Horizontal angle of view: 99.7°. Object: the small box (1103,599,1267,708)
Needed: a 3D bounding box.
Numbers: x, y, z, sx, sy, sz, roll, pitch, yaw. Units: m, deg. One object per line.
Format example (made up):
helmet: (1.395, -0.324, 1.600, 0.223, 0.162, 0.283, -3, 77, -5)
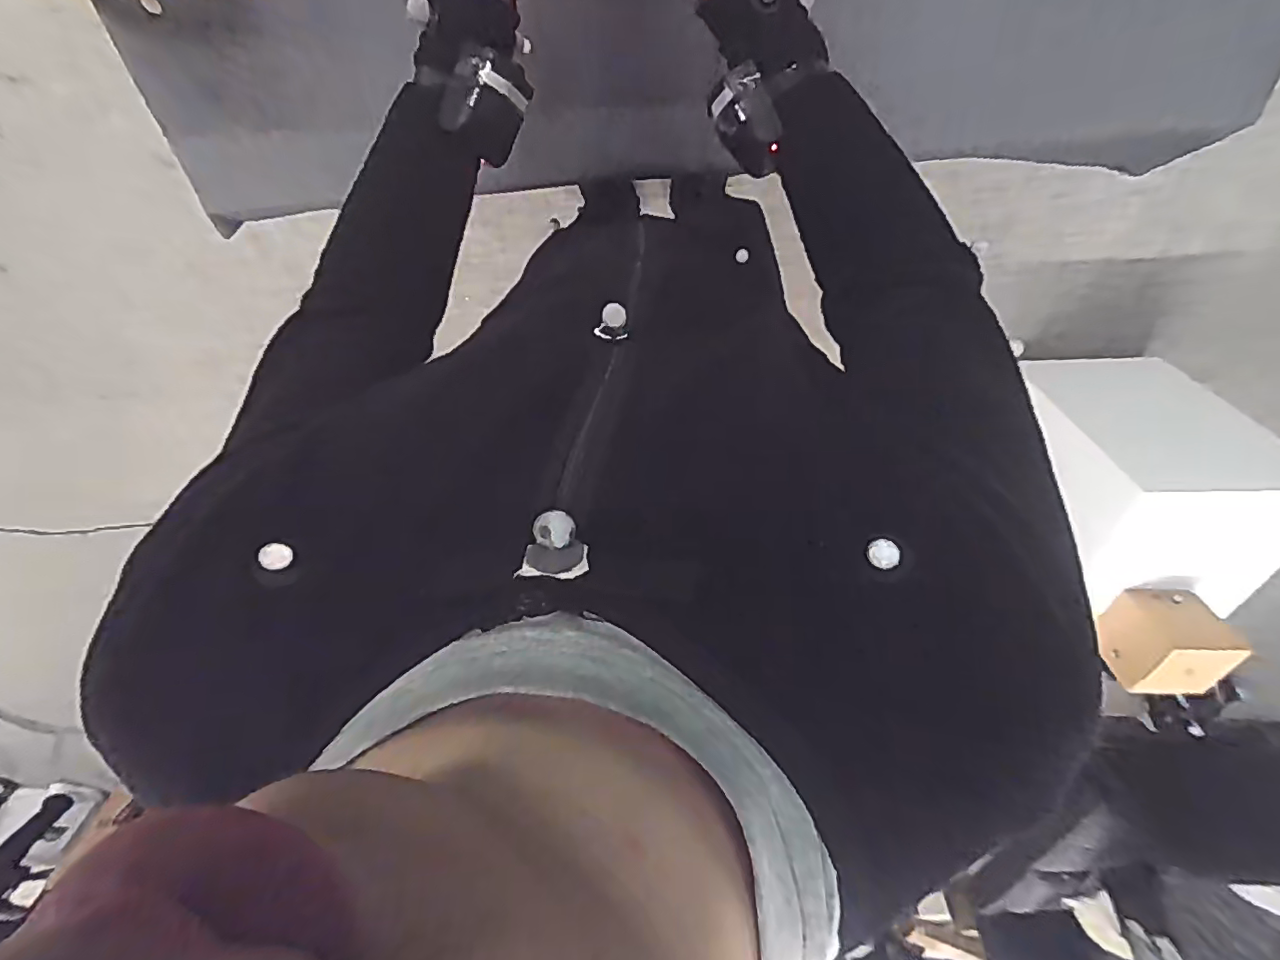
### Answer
small box: (1.213, 0.393, 1.226, 0.168, 0.176, 0.179, -1, 127, 3)
